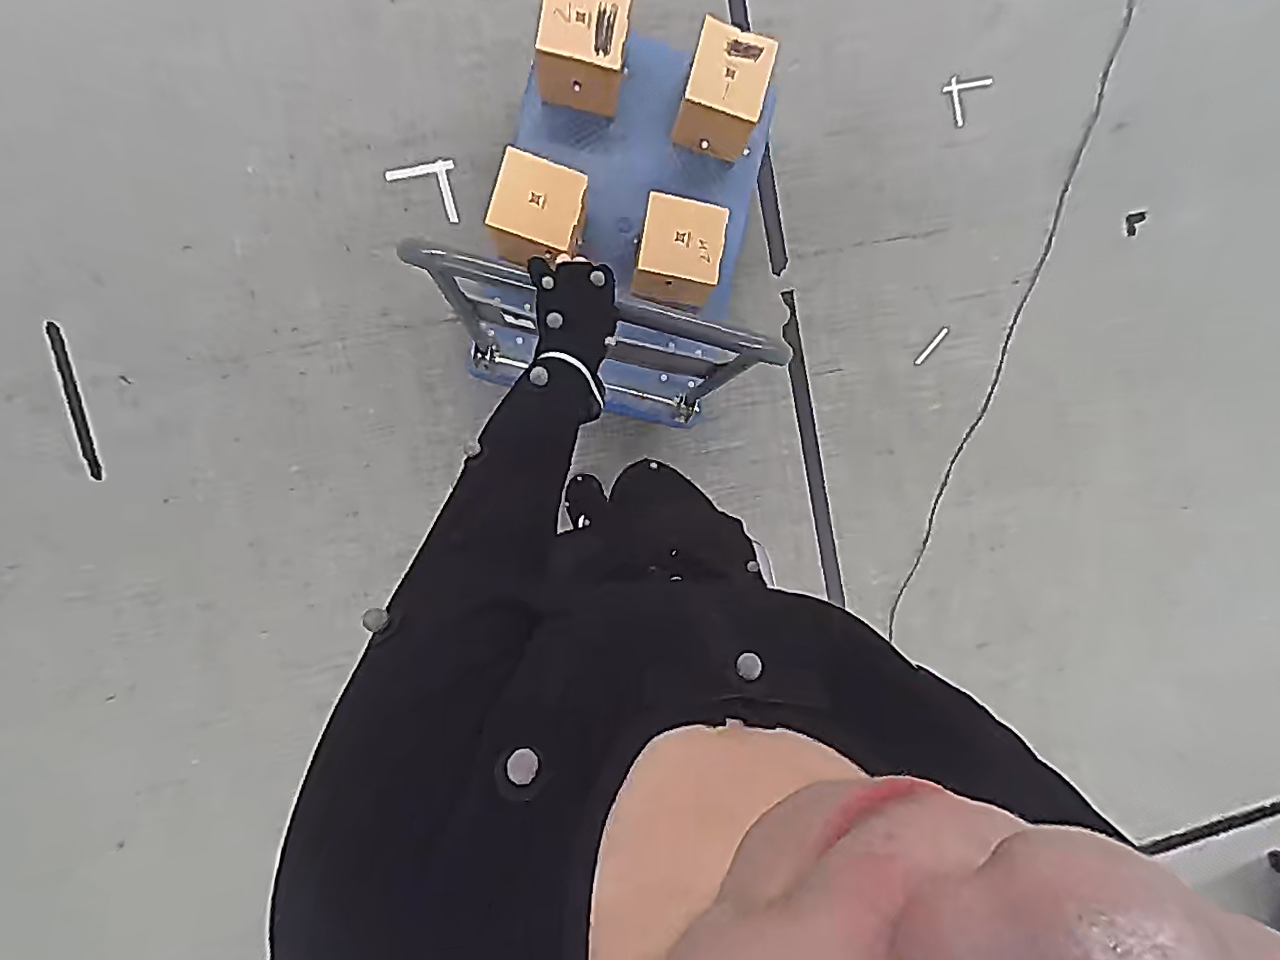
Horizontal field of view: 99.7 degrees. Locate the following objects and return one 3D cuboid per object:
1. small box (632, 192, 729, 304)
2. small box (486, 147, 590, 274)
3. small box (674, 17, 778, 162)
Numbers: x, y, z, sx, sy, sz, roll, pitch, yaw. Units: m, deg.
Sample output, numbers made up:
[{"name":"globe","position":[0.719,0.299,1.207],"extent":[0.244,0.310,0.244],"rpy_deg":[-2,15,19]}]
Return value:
[{"name":"small box","position":[0.082,-0.510,1.216],"extent":[0.179,0.176,0.168],"rpy_deg":[10,91,-7]},{"name":"small box","position":[-0.218,-0.575,1.180],"extent":[0.179,0.176,0.168],"rpy_deg":[16,90,-9]},{"name":"small box","position":[0.184,-0.862,1.212],"extent":[0.168,0.176,0.179],"rpy_deg":[15,92,-7]}]
